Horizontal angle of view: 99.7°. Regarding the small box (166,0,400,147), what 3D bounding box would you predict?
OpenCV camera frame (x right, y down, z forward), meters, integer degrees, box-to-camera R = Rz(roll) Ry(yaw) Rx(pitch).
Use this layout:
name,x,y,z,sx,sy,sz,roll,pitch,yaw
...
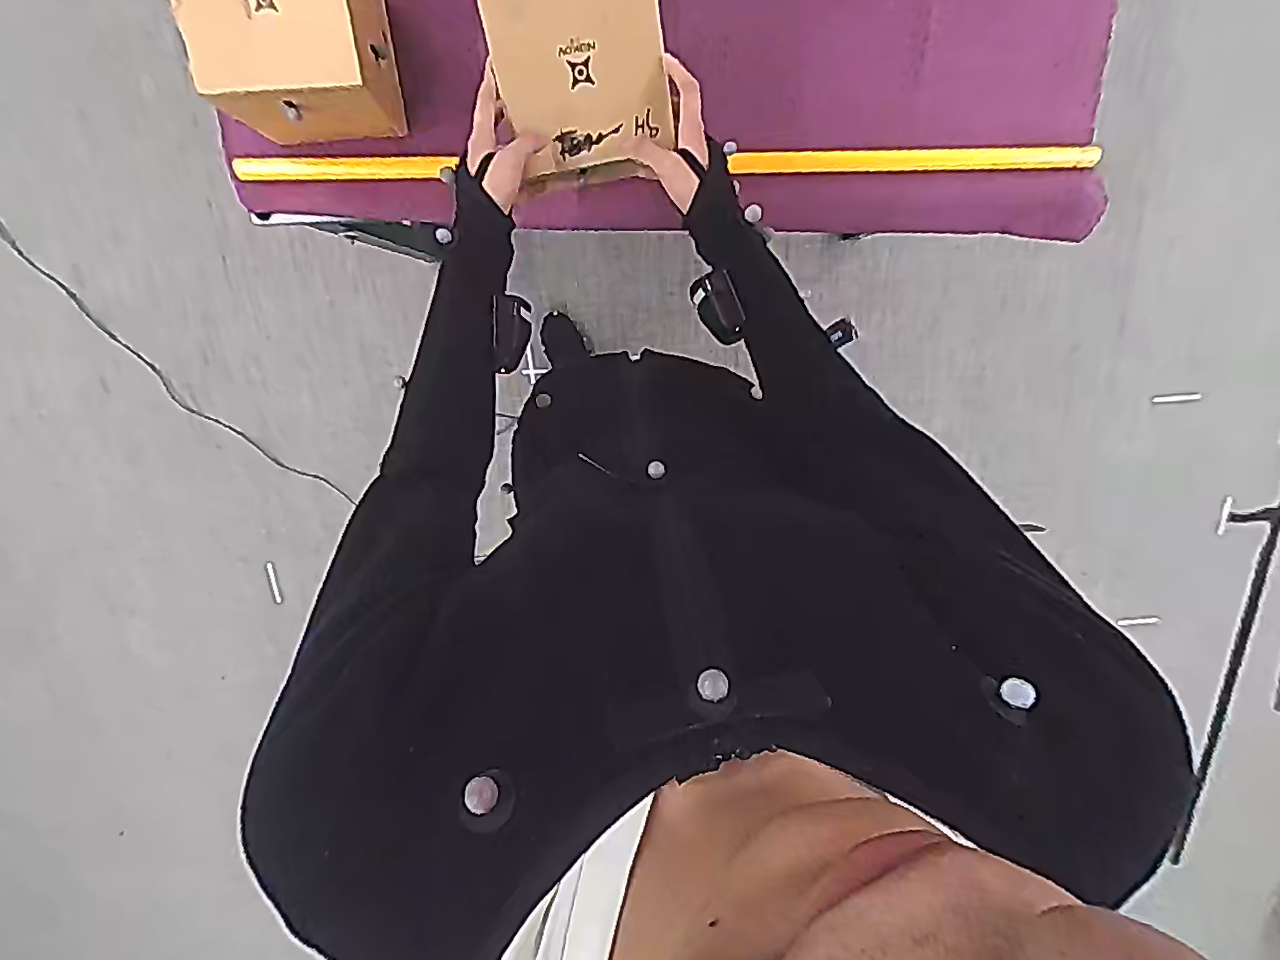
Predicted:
name,x,y,z,sx,sy,sz,roll,pitch,yaw
small box,-0.398,-0.508,0.629,0.179,0.176,0.168,-6,106,-3

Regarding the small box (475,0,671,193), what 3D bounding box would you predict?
name,x,y,z,sx,sy,sz,roll,pitch,yaw
small box,-0.071,-0.425,0.581,0.168,0.176,0.179,-11,114,-2
